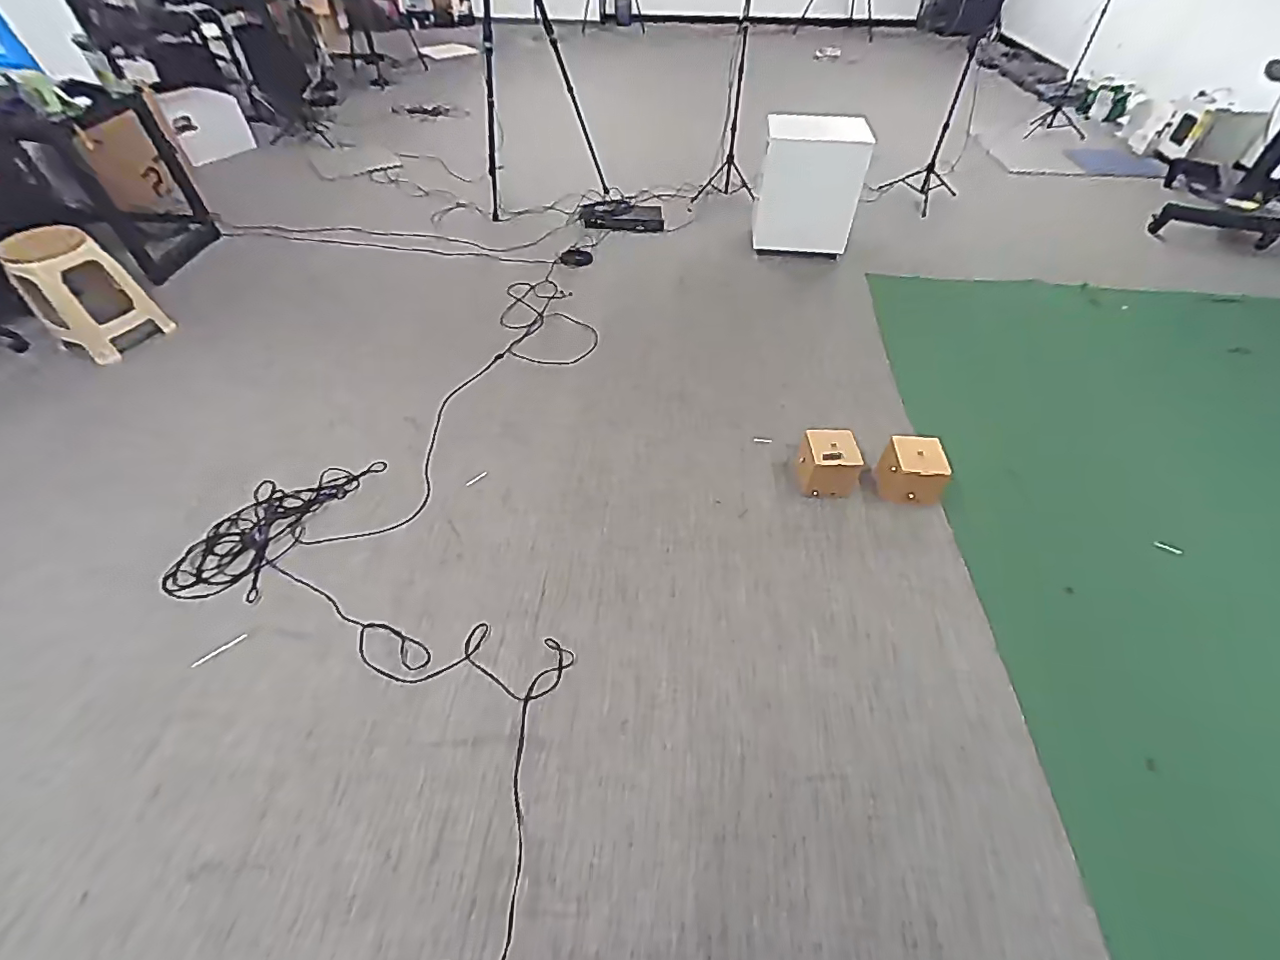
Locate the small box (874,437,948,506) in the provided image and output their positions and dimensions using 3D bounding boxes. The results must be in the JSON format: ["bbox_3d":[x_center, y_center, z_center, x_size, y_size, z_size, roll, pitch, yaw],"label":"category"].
[{"bbox_3d":[0.951,-0.031,1.915,0.168,0.176,0.179,3,49,3],"label":"small box"}]

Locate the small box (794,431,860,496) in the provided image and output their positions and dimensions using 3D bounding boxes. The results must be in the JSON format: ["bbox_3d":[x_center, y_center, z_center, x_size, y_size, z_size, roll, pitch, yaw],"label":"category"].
[{"bbox_3d":[0.660,-0.056,1.930,0.168,0.176,0.179,1,48,-1],"label":"small box"}]
